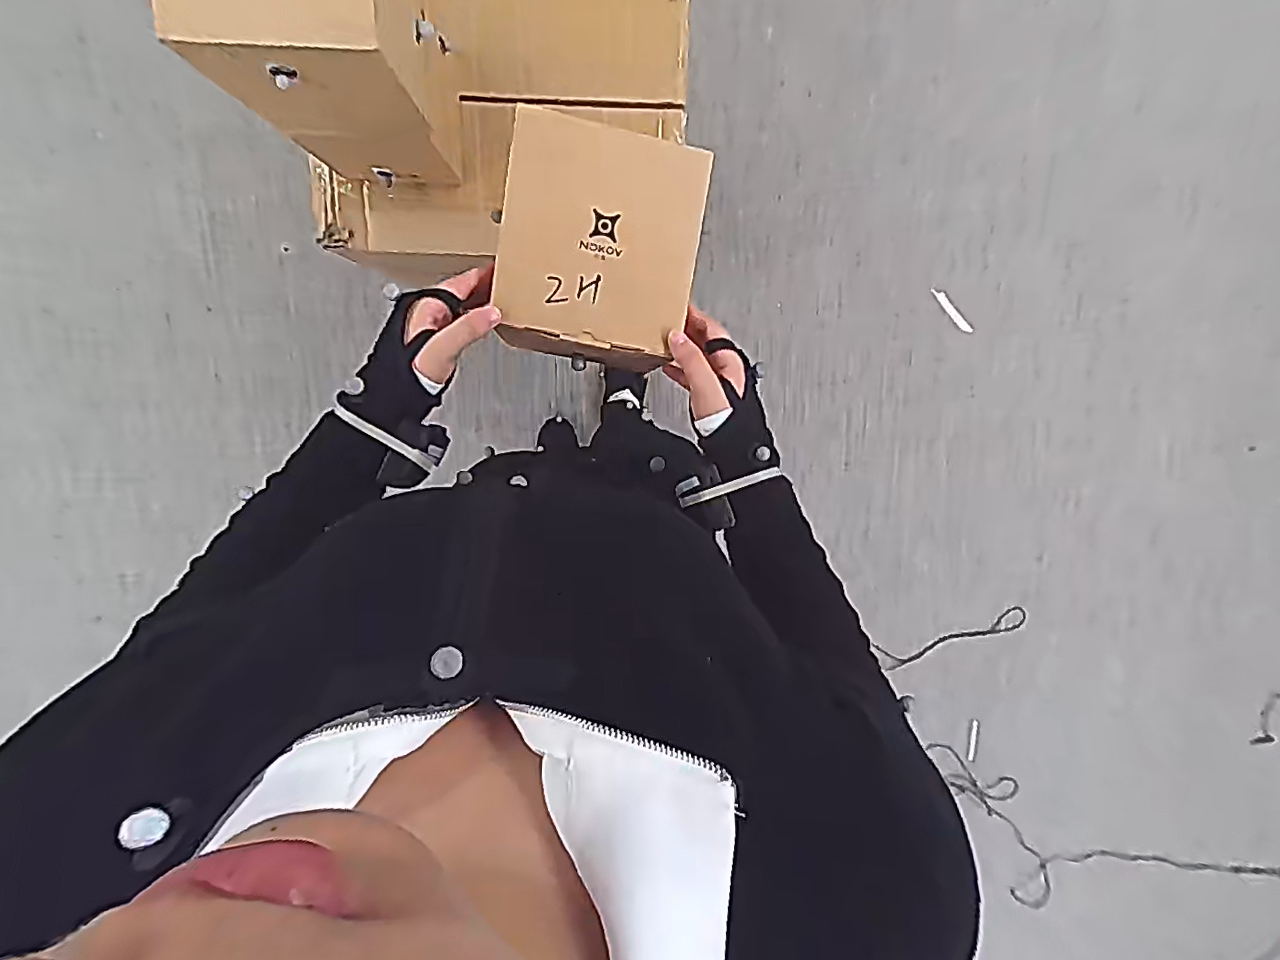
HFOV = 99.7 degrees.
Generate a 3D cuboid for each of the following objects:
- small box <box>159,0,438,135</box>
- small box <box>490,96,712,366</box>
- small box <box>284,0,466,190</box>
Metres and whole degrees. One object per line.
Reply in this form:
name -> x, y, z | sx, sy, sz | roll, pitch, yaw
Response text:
small box -> -0.309, -0.452, 0.513 | 0.179, 0.176, 0.168 | -1, 102, -4
small box -> -0.043, -0.220, 0.532 | 0.168, 0.176, 0.179 | 9, 95, -9
small box -> -0.322, -0.486, 0.674 | 0.168, 0.176, 0.179 | 0, 103, -4
